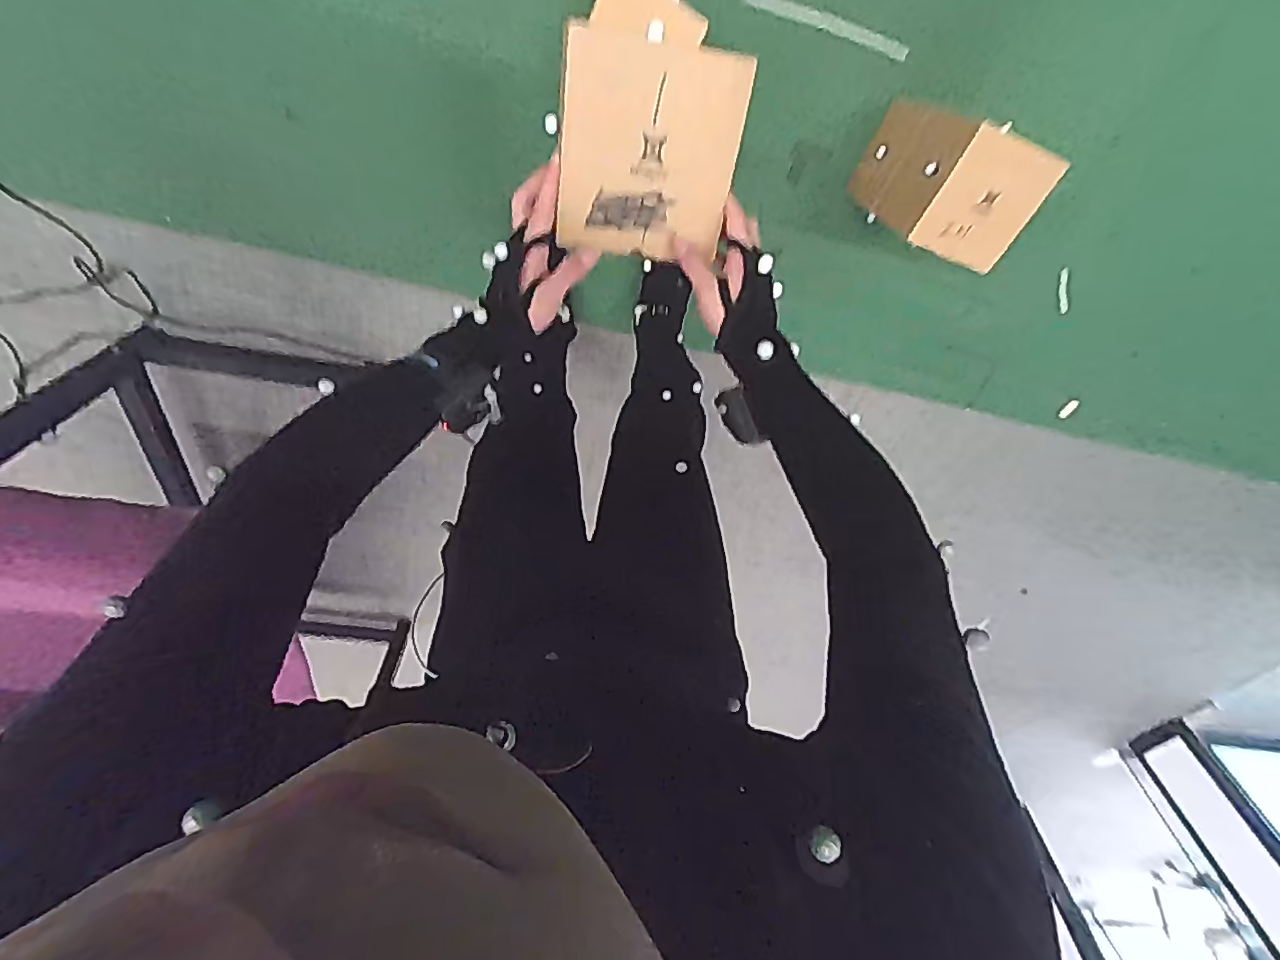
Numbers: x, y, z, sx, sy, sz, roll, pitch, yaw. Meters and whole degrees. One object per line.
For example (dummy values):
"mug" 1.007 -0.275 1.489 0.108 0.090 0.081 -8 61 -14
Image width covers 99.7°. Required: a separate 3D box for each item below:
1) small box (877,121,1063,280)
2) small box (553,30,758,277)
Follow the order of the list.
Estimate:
"small box" 0.533 -0.472 0.906 0.168 0.176 0.179 16 128 -13
"small box" -0.001 -0.332 0.558 0.168 0.176 0.179 3 125 -12
